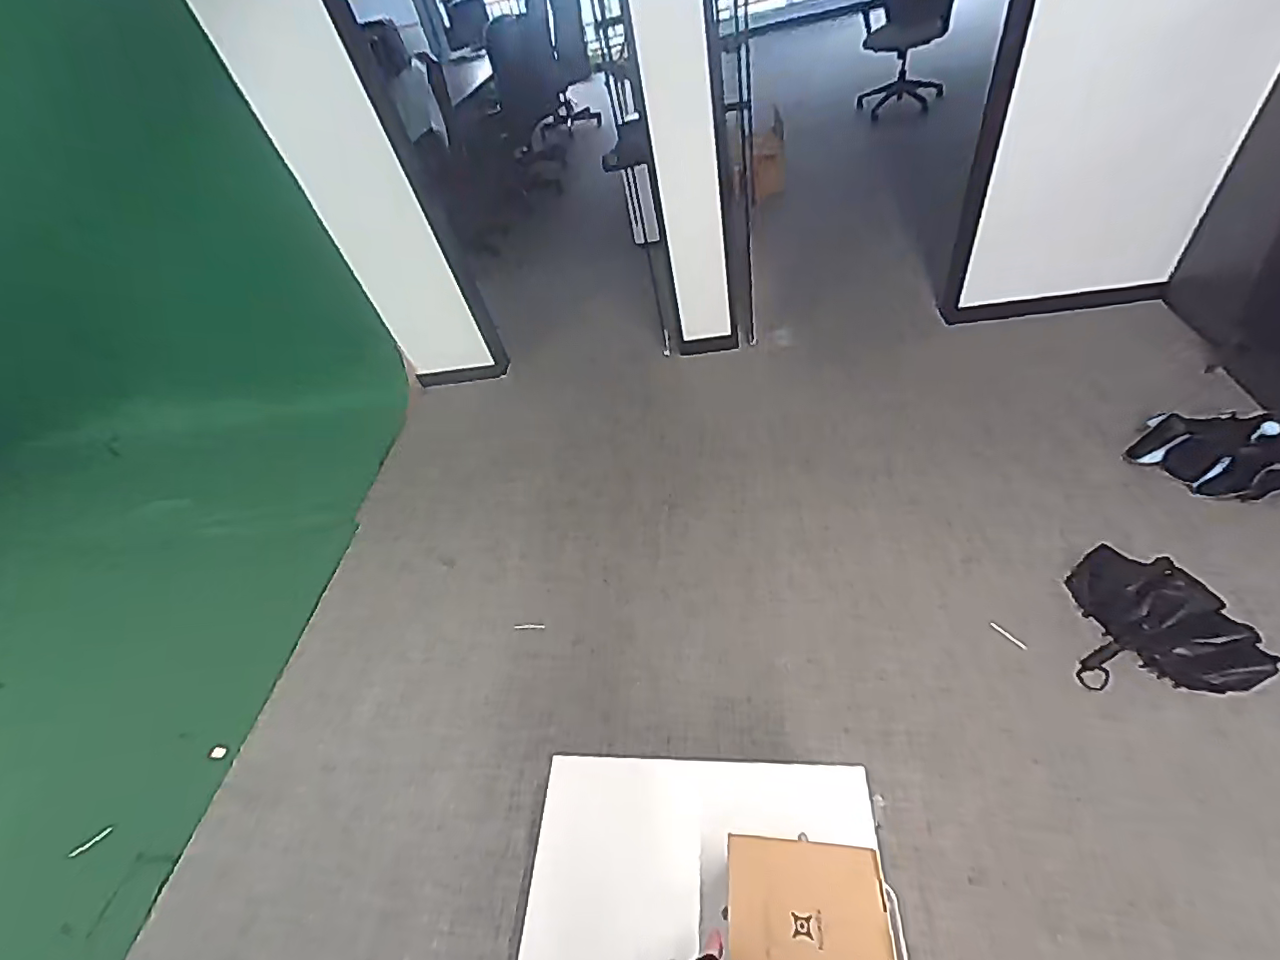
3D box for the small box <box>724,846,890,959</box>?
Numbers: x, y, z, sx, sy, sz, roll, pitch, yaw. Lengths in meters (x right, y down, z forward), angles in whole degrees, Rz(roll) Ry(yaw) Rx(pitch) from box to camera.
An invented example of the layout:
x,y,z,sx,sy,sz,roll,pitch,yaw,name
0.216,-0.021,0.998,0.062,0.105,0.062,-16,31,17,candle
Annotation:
x,y,z,sx,sy,sz,roll,pitch,yaw,name
0.196,0.558,0.647,0.179,0.176,0.168,-5,46,13,small box
